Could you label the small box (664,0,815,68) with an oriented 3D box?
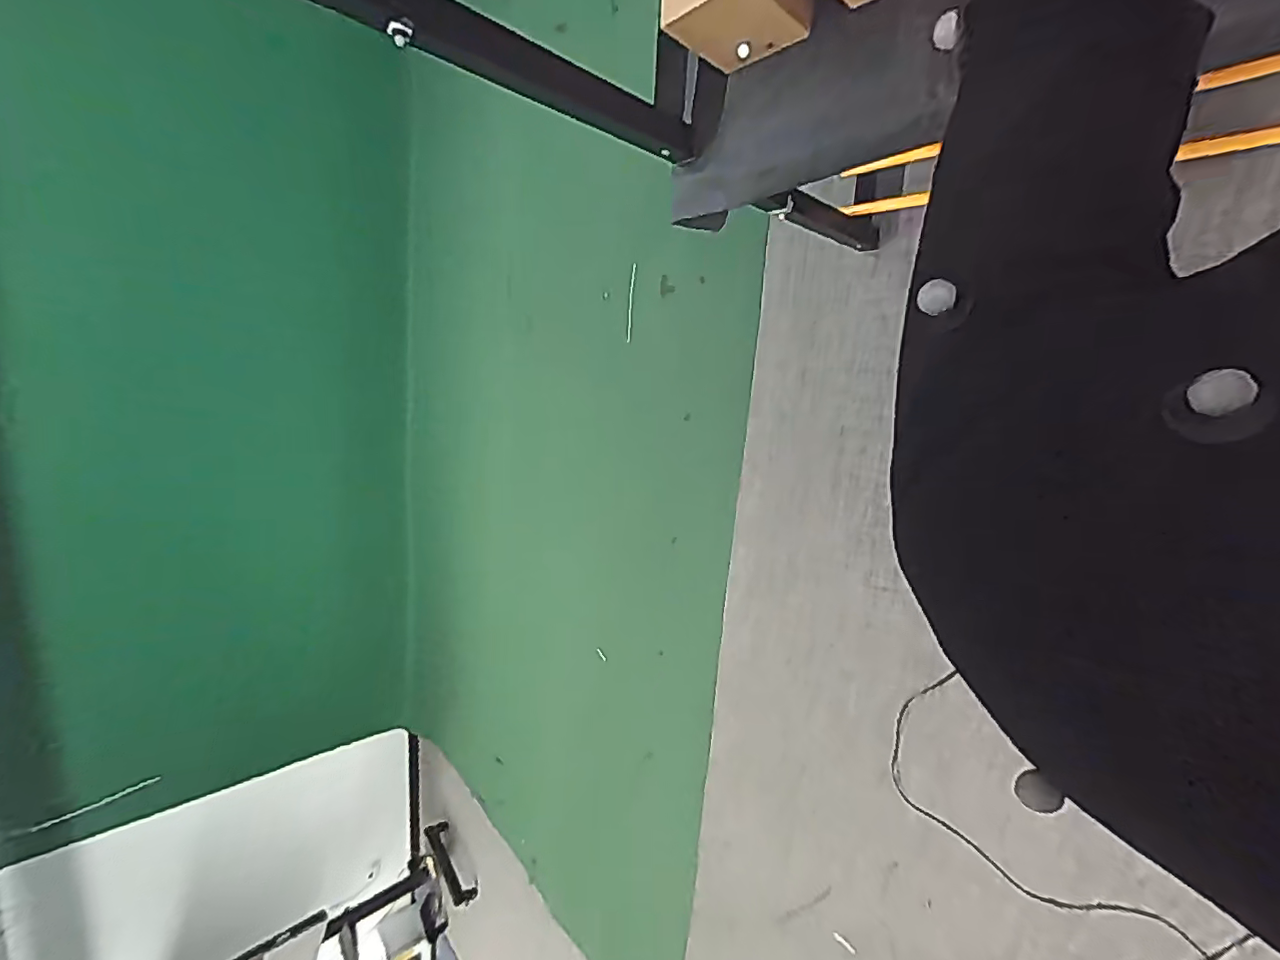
[{"bbox_3d":[0.158,-0.777,0.815,0.168,0.176,0.179,15,106,46],"label":"small box"}]
